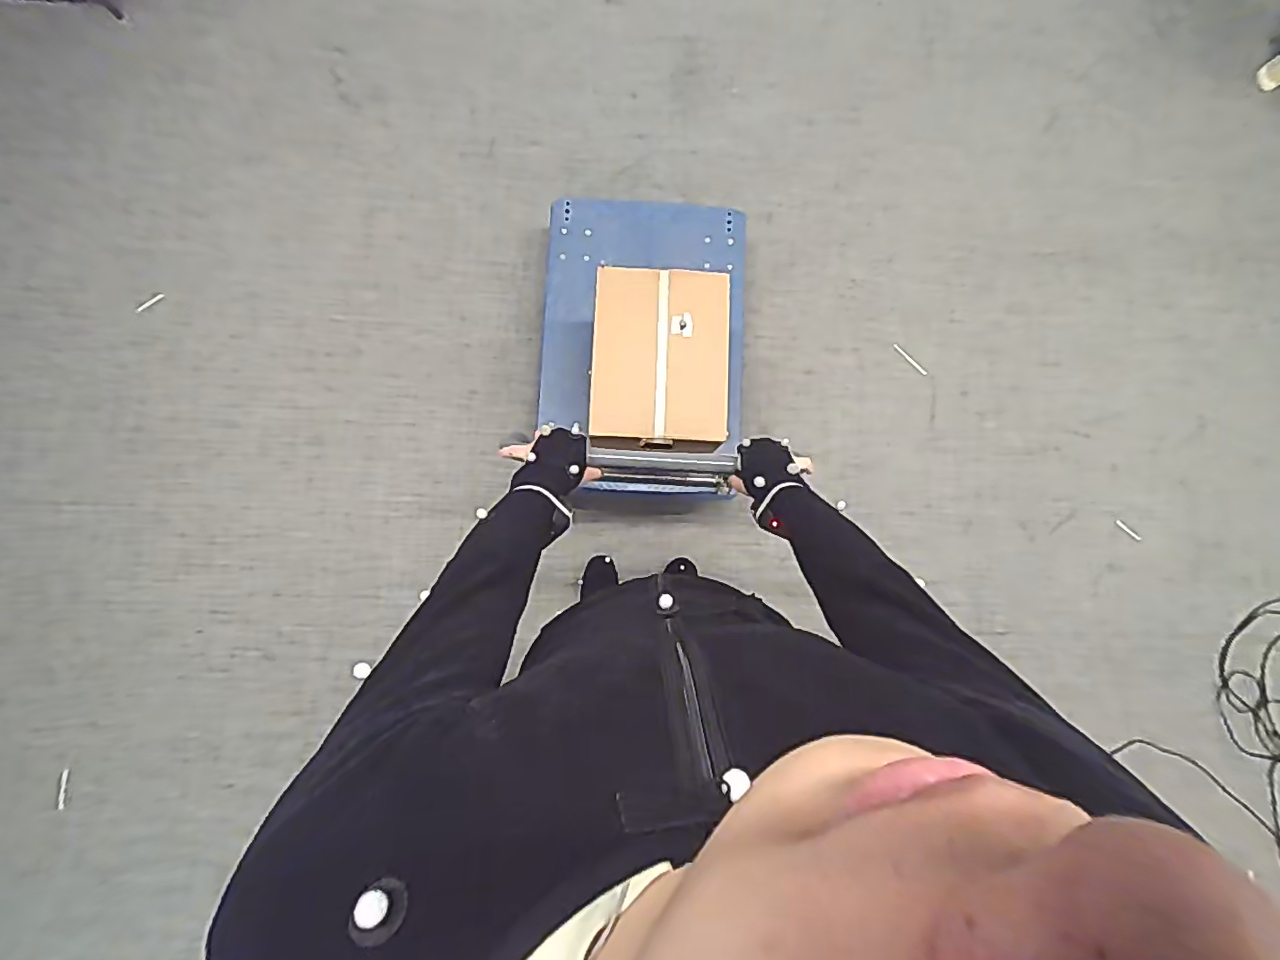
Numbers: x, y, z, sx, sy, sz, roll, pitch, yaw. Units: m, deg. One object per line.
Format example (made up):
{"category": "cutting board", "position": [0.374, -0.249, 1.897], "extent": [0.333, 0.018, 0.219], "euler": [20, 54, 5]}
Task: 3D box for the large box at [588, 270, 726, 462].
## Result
{"category": "large box", "position": [0.035, -0.266, 1.382], "extent": [0.320, 0.320, 0.408], "euler": [2, 81, -3]}
